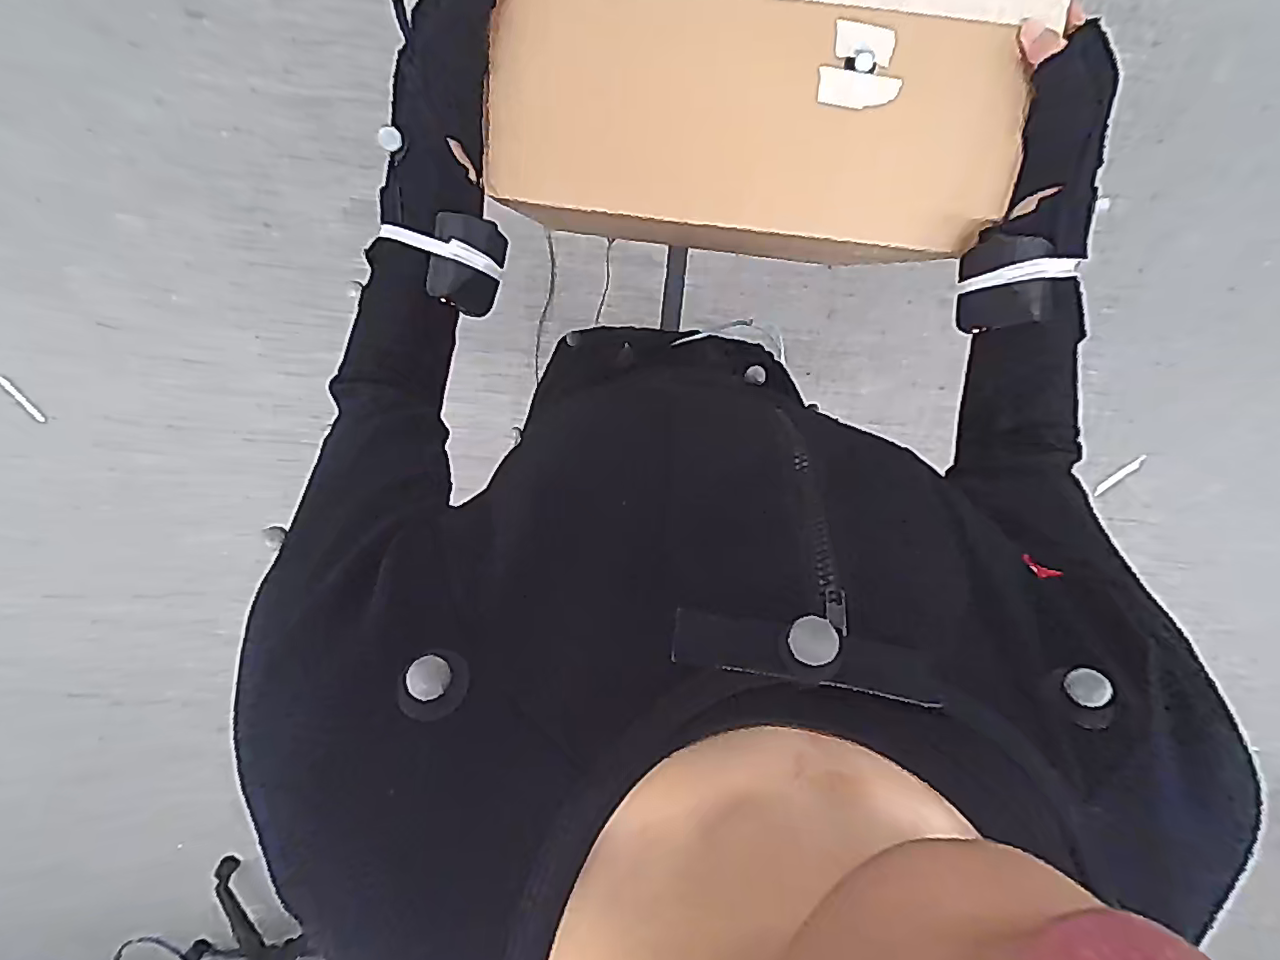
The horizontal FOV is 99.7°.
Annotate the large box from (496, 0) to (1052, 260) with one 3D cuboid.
[{"bbox_3d":[0.094,-0.401,0.524,0.408,0.320,0.320,6,112,-3],"label":"large box"}]
